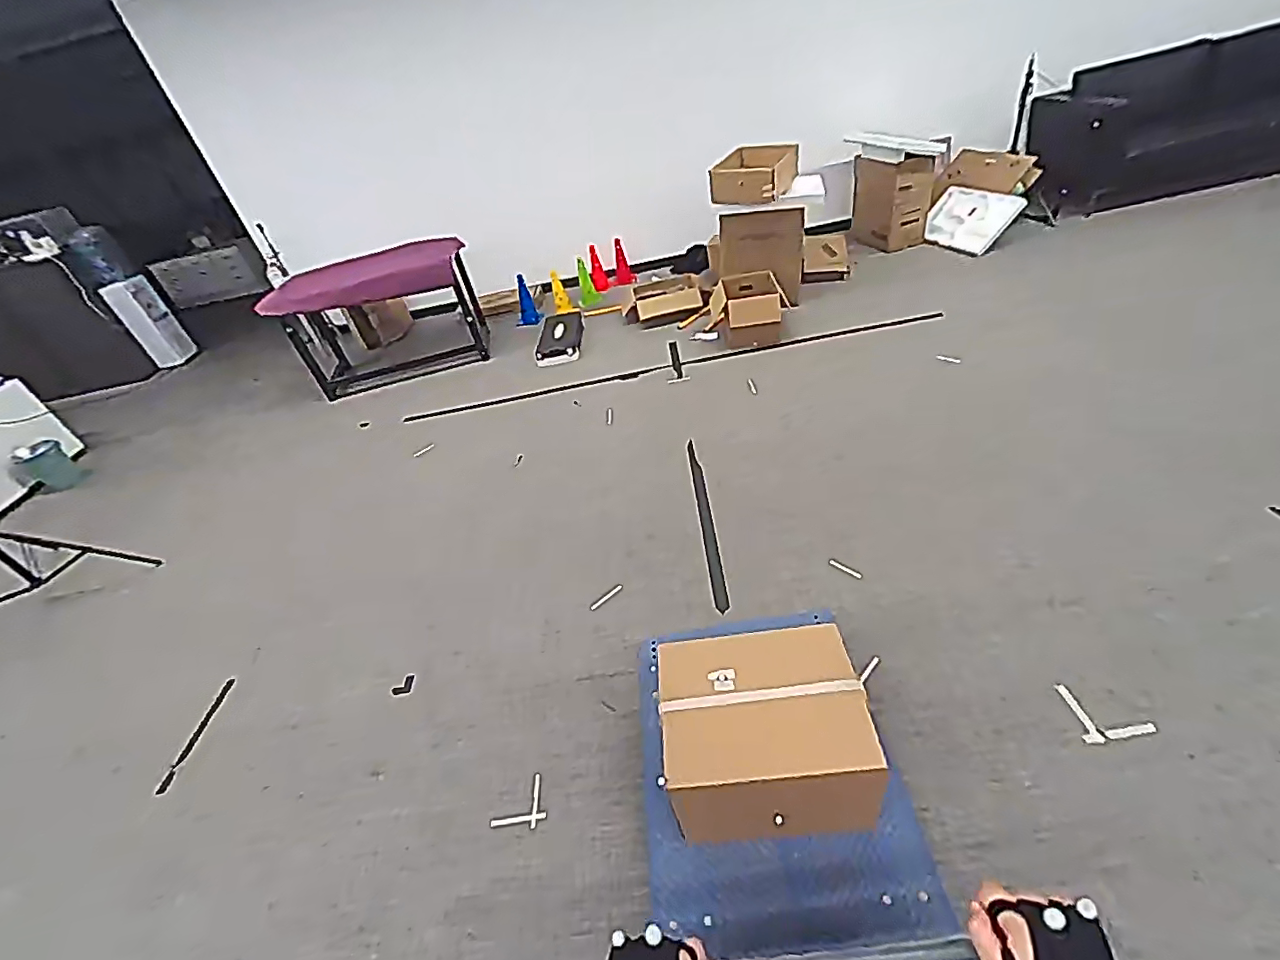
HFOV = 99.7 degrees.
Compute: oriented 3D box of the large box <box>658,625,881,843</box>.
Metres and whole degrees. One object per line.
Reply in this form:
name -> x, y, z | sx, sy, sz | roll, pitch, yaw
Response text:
large box -> 0.270, 0.567, 1.203 | 0.408, 0.320, 0.320 | -10, 37, 6
